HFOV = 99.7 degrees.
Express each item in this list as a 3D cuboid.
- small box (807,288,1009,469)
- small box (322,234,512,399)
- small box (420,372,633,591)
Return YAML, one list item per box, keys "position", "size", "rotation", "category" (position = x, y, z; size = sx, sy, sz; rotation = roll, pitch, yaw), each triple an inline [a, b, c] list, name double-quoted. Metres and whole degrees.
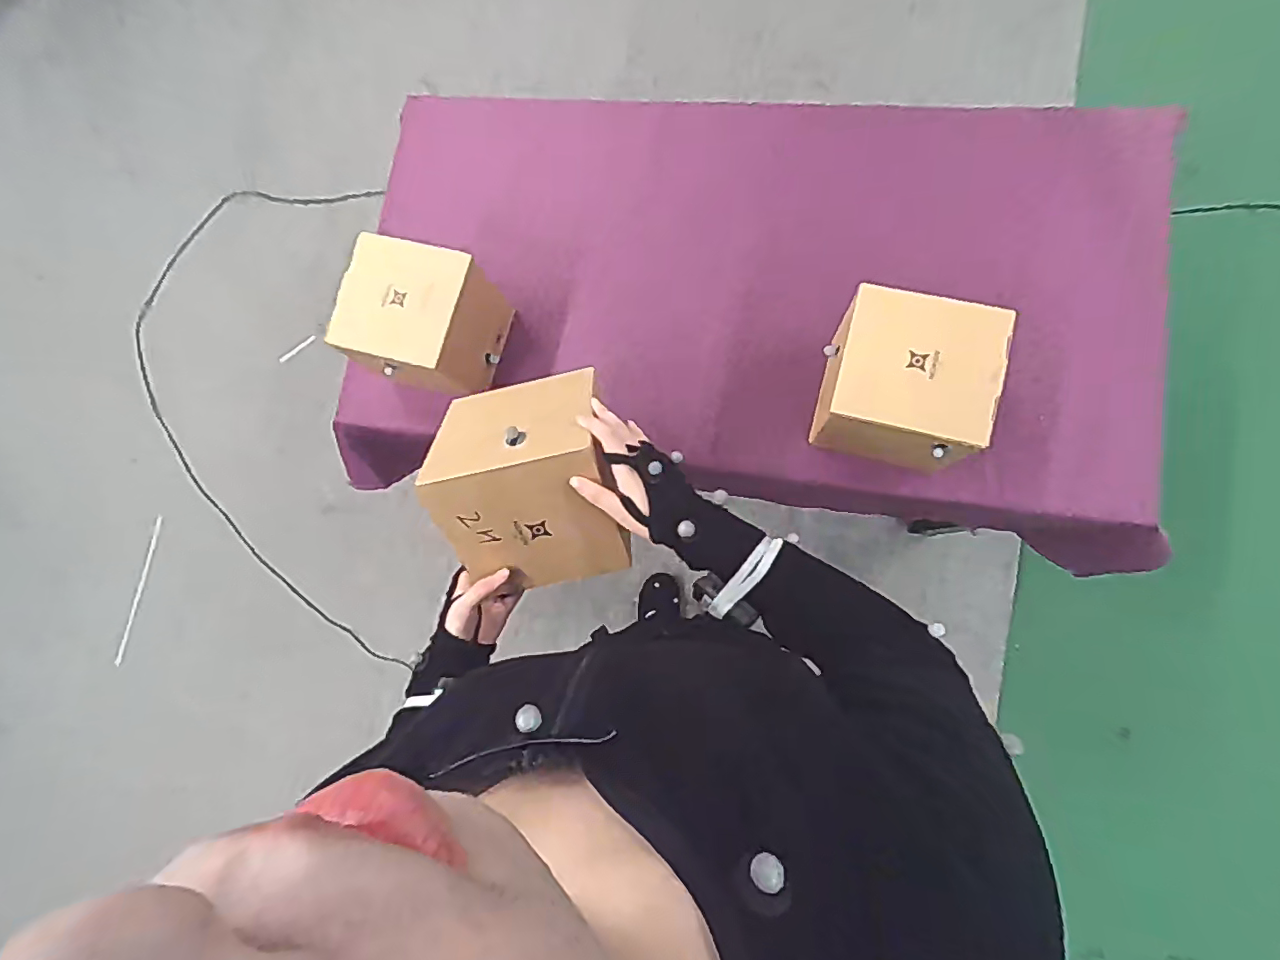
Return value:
- position: [0.329, -0.120, 0.700]
  size: [0.179, 0.176, 0.168]
  rotation: [15, 84, 10]
  category: "small box"
- position: [-0.319, -0.232, 0.807]
  size: [0.179, 0.176, 0.168]
  rotation: [16, 84, 9]
  category: "small box"
- position: [-0.112, -0.004, 0.609]
  size: [0.179, 0.168, 0.176]
  rotation: [-11, 37, 6]
  category: "small box"
